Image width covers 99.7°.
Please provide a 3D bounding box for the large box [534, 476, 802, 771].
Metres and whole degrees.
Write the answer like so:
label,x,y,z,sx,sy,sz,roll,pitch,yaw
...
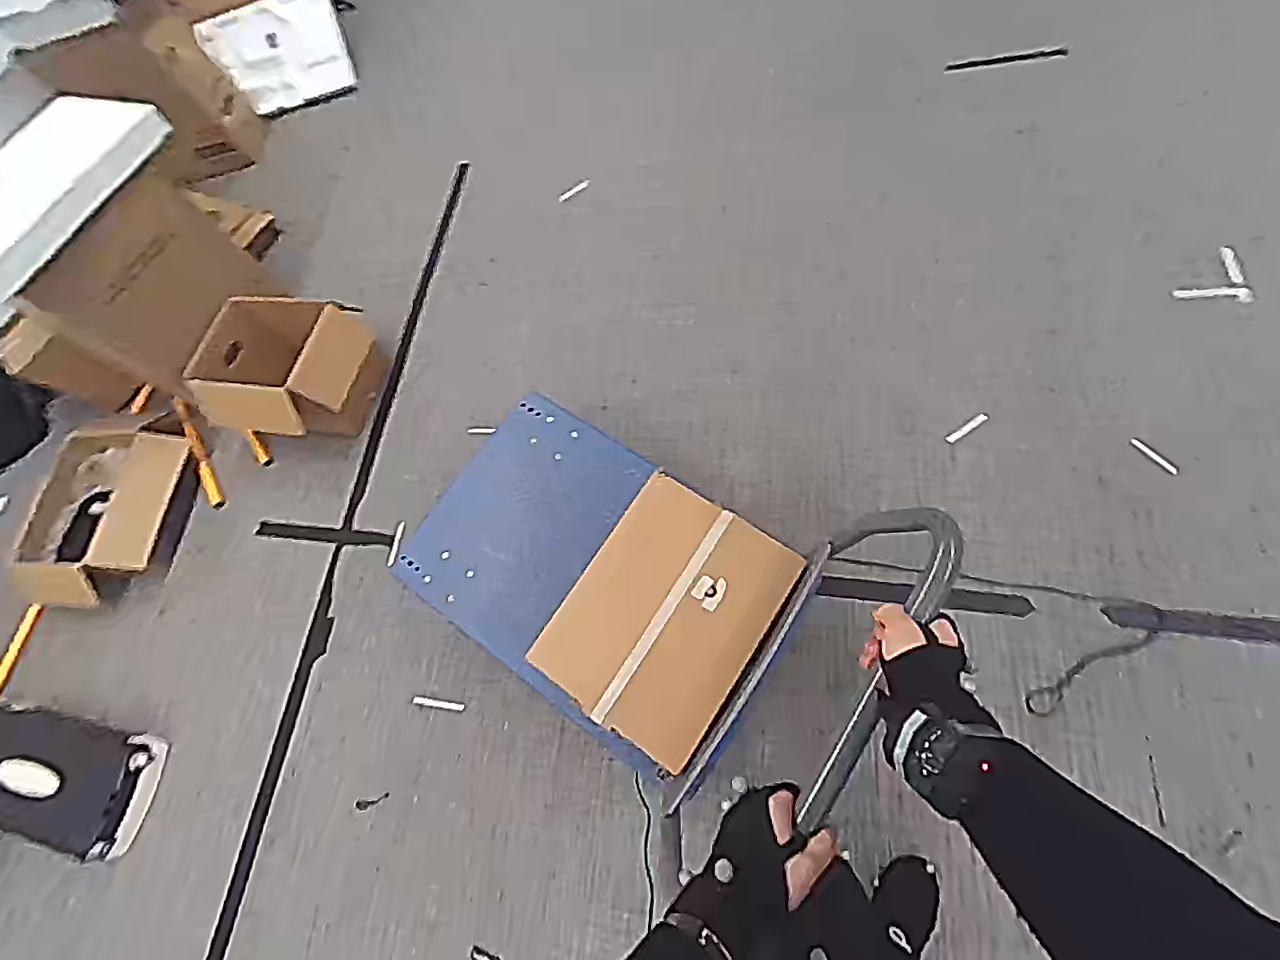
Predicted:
label,x,y,z,sx,sy,sz,roll,pitch,yaw
large box,0.064,0.275,1.064,0.320,0.320,0.408,32,77,15
